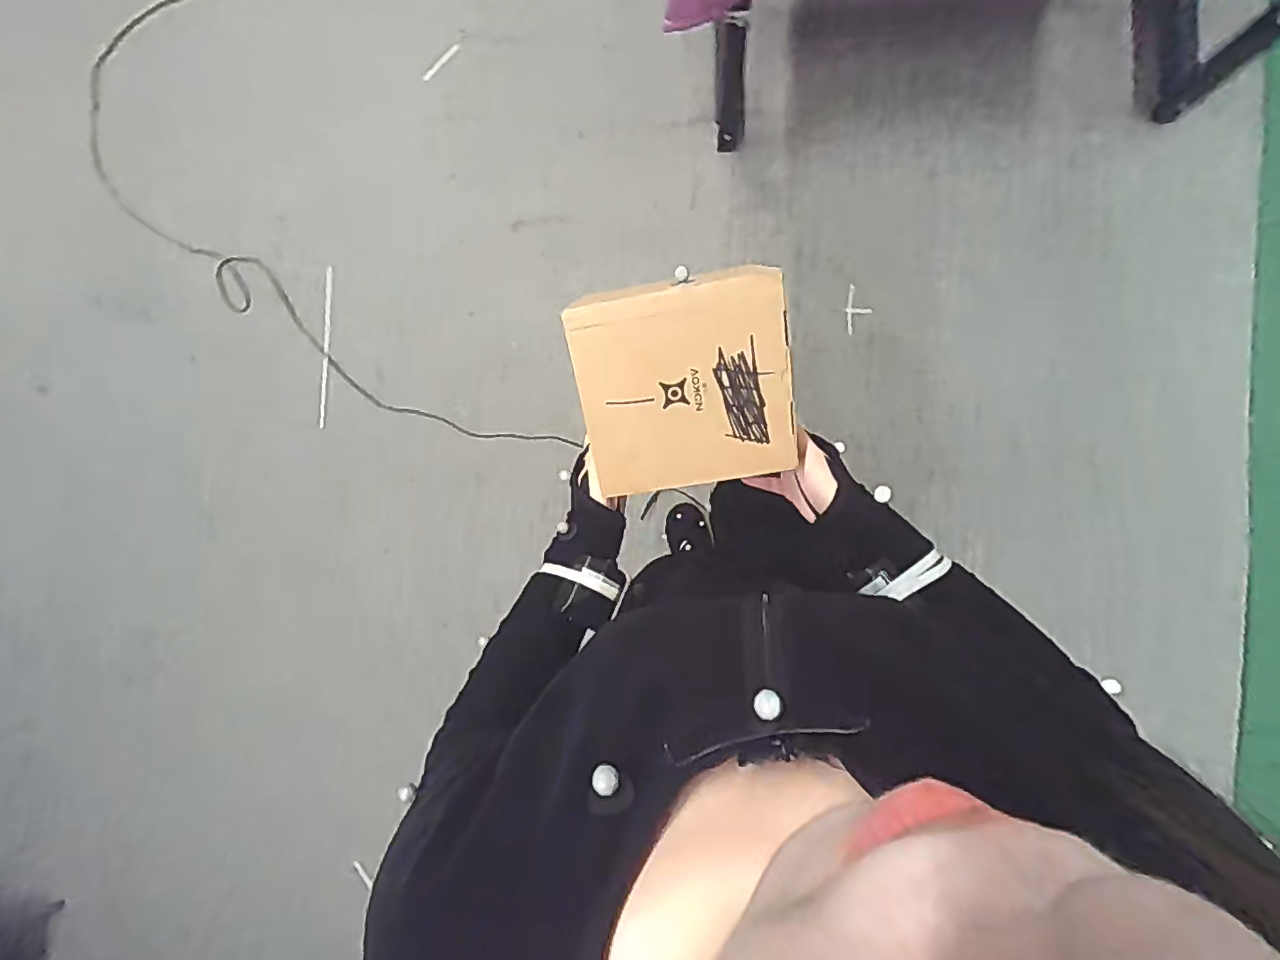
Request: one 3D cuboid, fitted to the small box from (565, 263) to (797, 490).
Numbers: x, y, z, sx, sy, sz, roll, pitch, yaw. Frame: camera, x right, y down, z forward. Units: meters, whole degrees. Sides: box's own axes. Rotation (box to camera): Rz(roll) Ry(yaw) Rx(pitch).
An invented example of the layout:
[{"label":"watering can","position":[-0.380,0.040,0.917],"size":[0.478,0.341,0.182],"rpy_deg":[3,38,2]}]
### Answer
[{"label":"small box","position":[0.040,-0.107,0.514],"size":[0.179,0.176,0.168],"rpy_deg":[-8,112,6]}]
